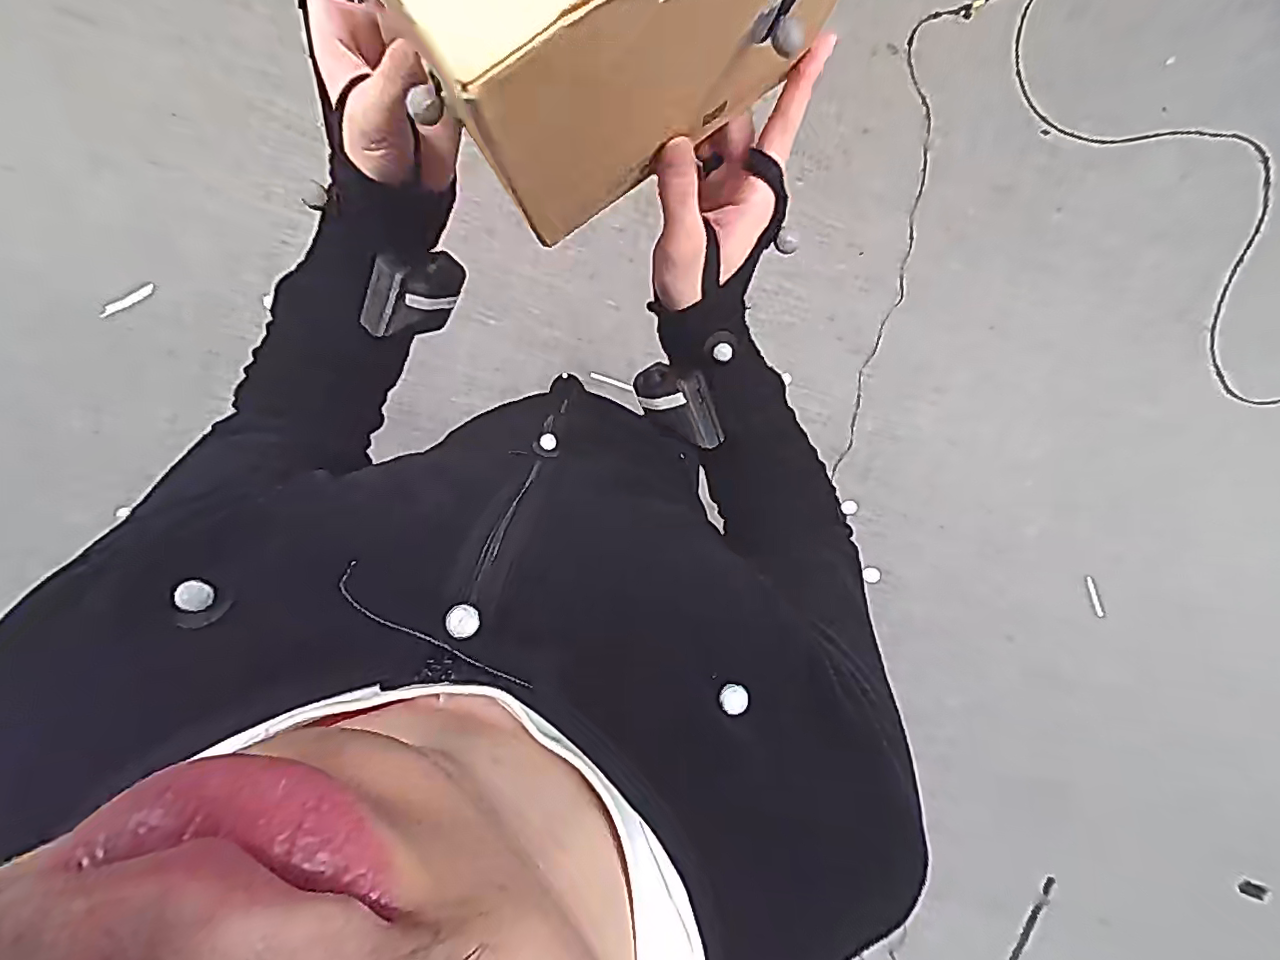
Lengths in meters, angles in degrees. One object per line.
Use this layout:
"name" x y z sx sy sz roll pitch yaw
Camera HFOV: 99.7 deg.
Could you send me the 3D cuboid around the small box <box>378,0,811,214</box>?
"small box" -0.031 -0.232 0.206 0.168 0.176 0.179 -34 100 3
